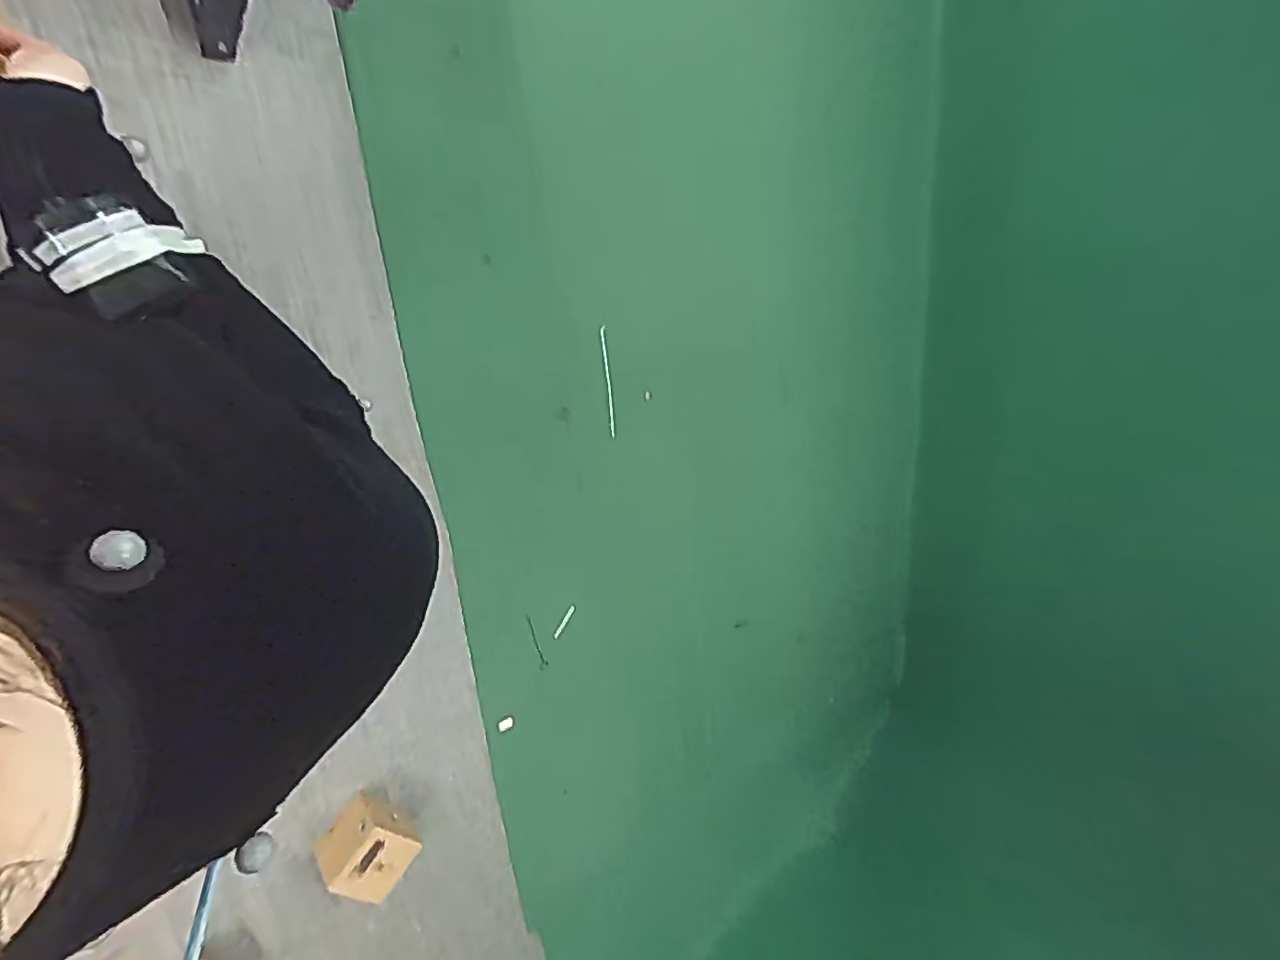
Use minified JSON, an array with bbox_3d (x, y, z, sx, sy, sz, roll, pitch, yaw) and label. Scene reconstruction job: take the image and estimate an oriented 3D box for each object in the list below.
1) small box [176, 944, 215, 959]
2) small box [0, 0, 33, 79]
[{"bbox_3d":[-1.060,1.236,1.238,0.179,0.176,0.168,-27,116,-35],"label":"small box"},{"bbox_3d":[-0.503,-0.331,0.295,0.168,0.176,0.179,-25,132,-27],"label":"small box"}]
